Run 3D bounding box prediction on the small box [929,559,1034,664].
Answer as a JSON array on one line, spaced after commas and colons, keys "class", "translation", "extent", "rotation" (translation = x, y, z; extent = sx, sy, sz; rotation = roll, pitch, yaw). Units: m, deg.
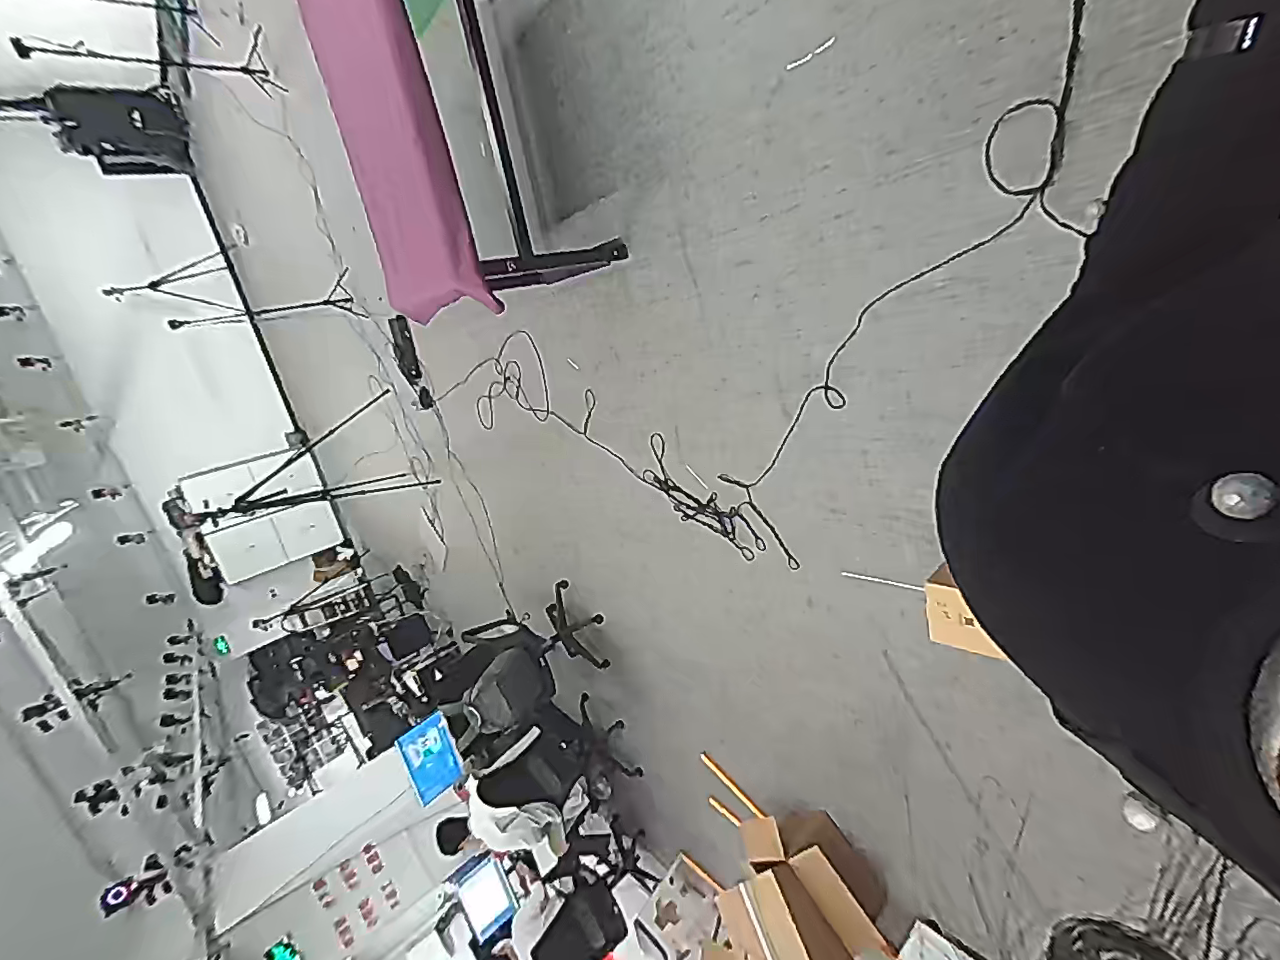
[{"class": "small box", "translation": [0.827, 0.306, 1.301], "extent": [0.179, 0.176, 0.168], "rotation": [5, 112, 50]}]
